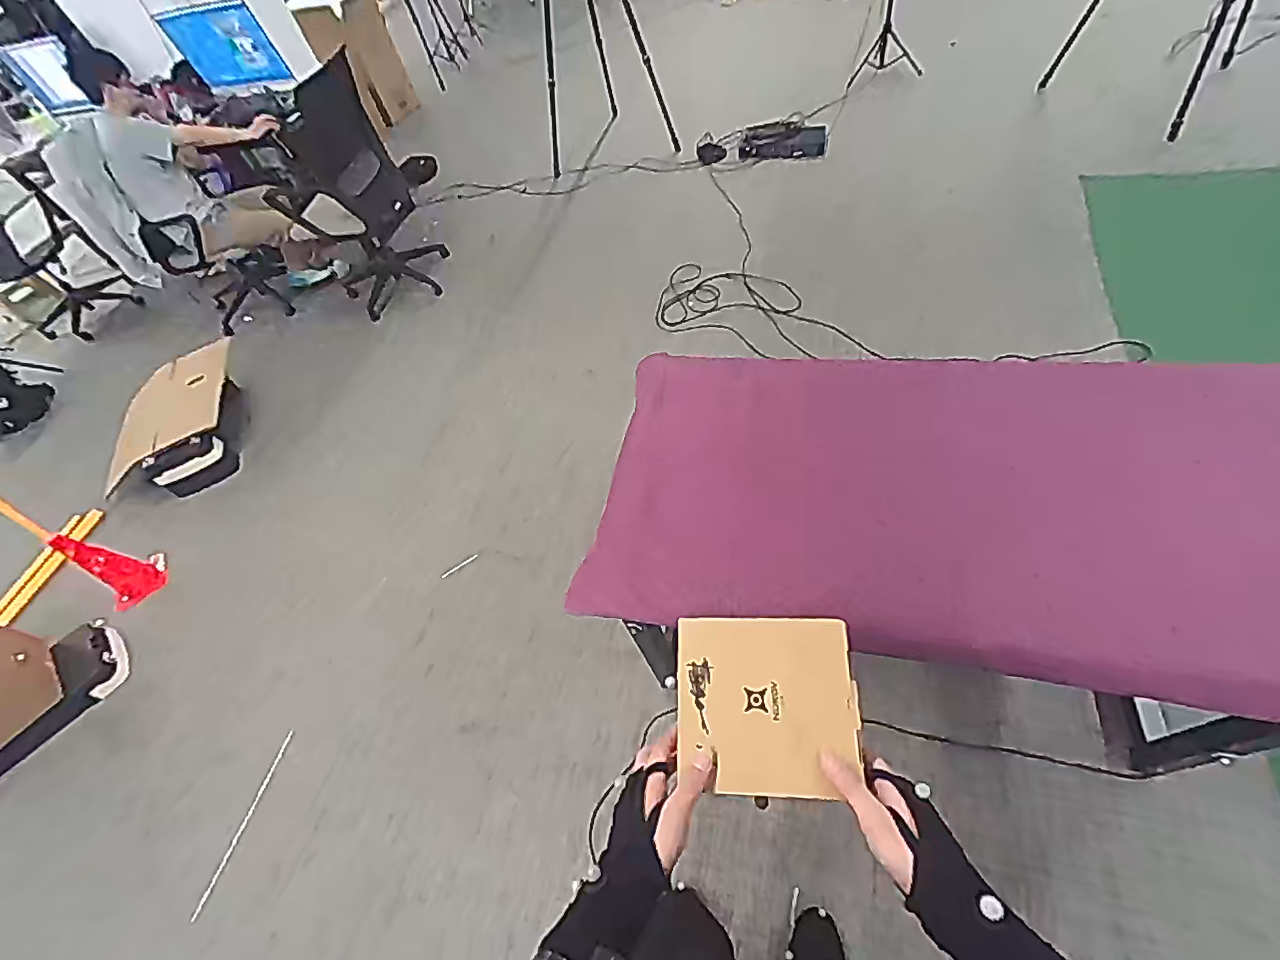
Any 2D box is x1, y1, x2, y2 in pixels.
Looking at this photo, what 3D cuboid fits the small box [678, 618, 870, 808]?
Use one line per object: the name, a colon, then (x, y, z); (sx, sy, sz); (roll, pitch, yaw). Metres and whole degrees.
small box: (0.135, 0.257, 0.601); (0.179, 0.176, 0.168); (0, 62, 7)
